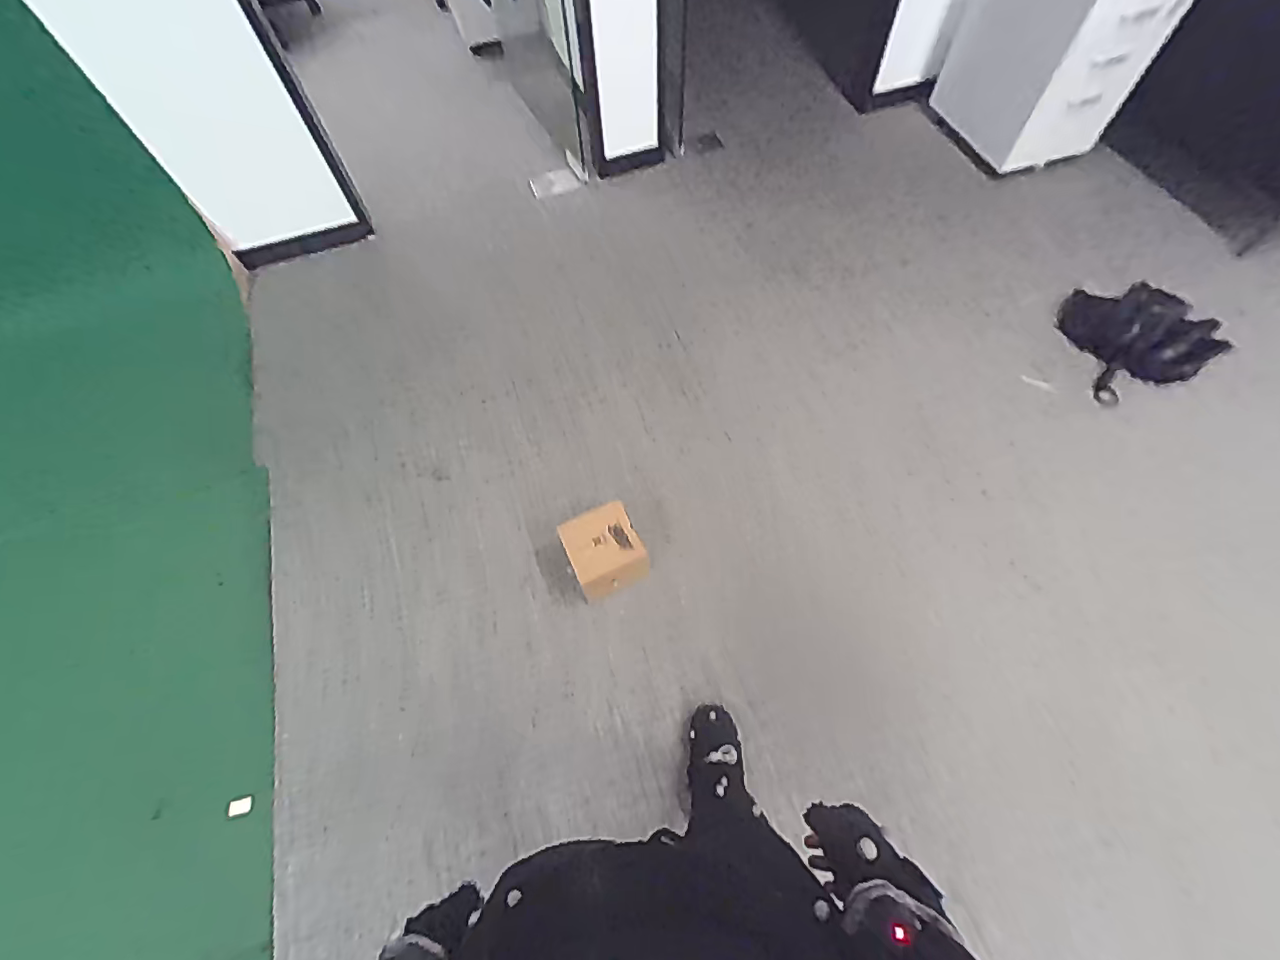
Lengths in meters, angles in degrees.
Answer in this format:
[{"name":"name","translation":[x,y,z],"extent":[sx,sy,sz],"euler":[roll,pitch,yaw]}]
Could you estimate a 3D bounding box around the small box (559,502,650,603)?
[{"name":"small box","translation":[-0.087,0.189,1.382],"extent":[0.179,0.176,0.168],"euler":[-26,64,-12]}]
